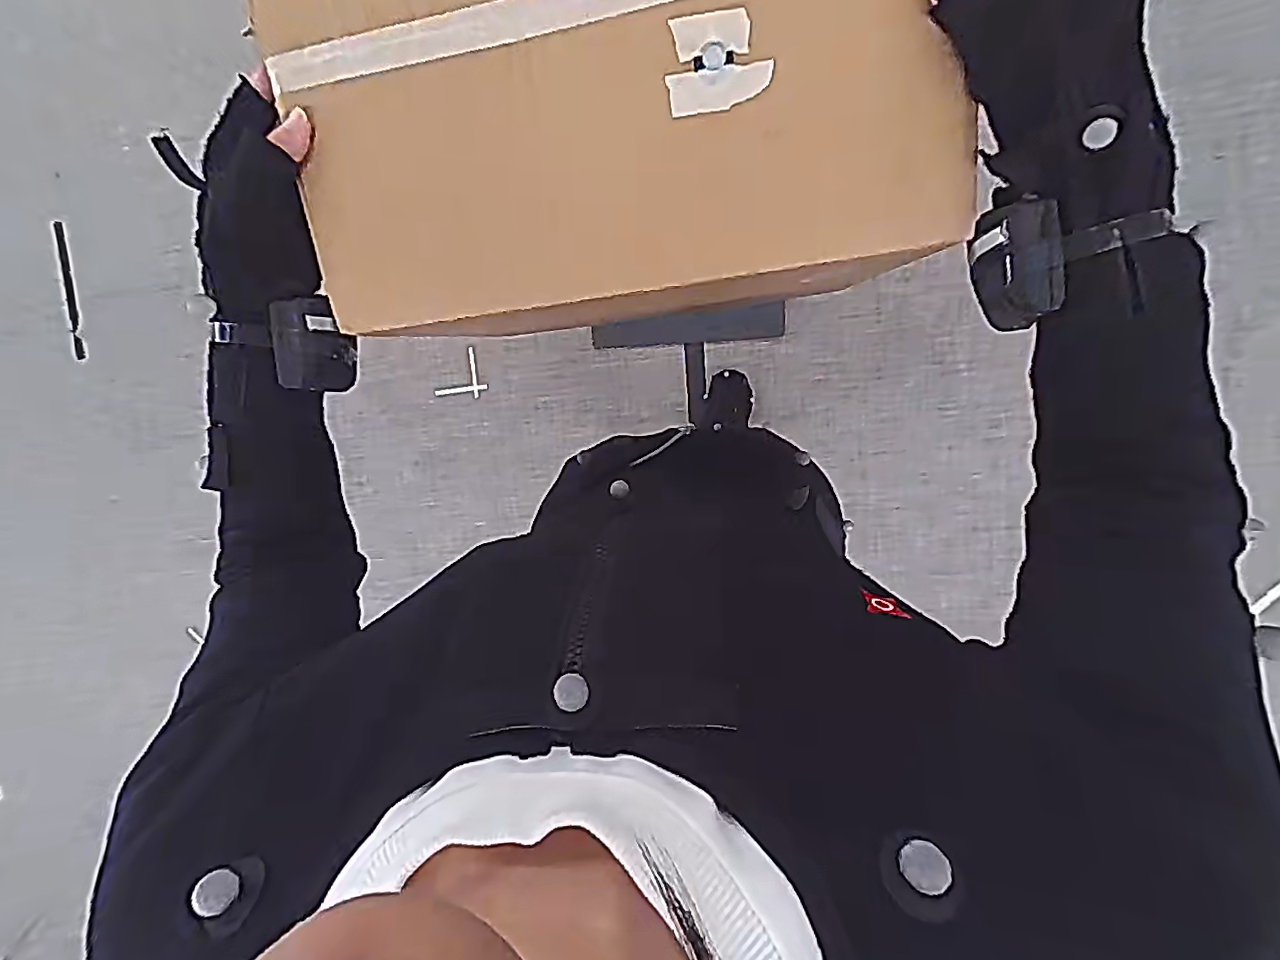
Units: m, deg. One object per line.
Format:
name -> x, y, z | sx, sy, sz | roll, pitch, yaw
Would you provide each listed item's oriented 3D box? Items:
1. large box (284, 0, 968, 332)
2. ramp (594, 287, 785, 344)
large box -> -0.006, -0.315, 0.460 | 0.408, 0.320, 0.320 | -6, 104, 8
ramp -> 0.088, -0.838, 1.243 | 0.509, 0.206, 0.991 | -3, 97, 8
